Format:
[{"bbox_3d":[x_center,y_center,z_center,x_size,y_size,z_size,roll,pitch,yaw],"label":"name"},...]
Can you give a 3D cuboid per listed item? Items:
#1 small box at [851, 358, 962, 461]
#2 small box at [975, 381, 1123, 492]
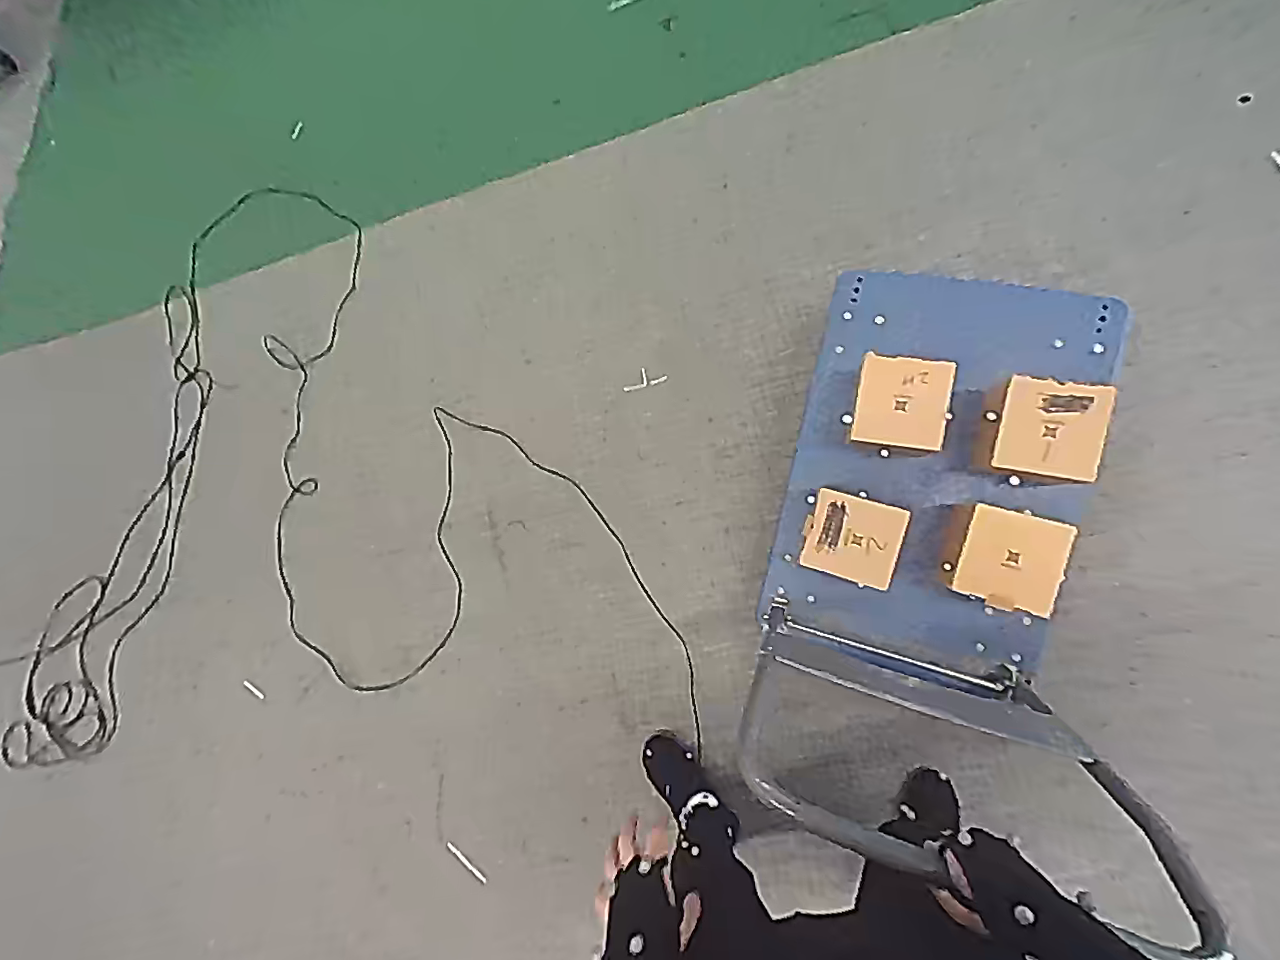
[{"bbox_3d":[0.544,-0.140,1.128,0.168,0.176,0.179,11,91,17],"label":"small box"},{"bbox_3d":[0.779,-0.079,1.050,0.168,0.176,0.179,13,92,18],"label":"small box"}]
